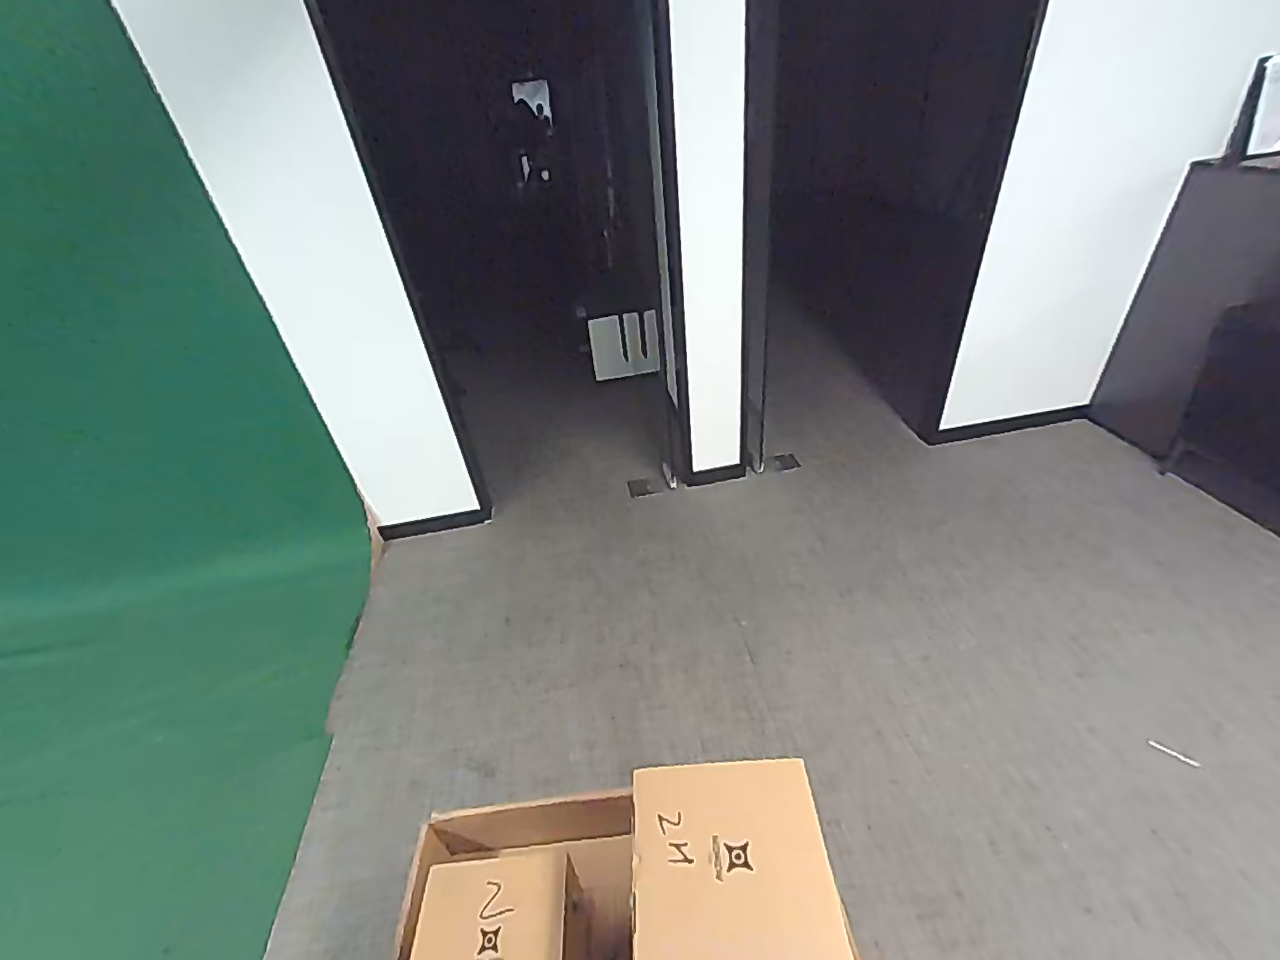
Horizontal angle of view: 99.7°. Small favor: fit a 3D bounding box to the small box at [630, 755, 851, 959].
[{"bbox_3d":[0.088,0.397,0.534,0.179,0.176,0.168,-6,36,4],"label":"small box"}]
